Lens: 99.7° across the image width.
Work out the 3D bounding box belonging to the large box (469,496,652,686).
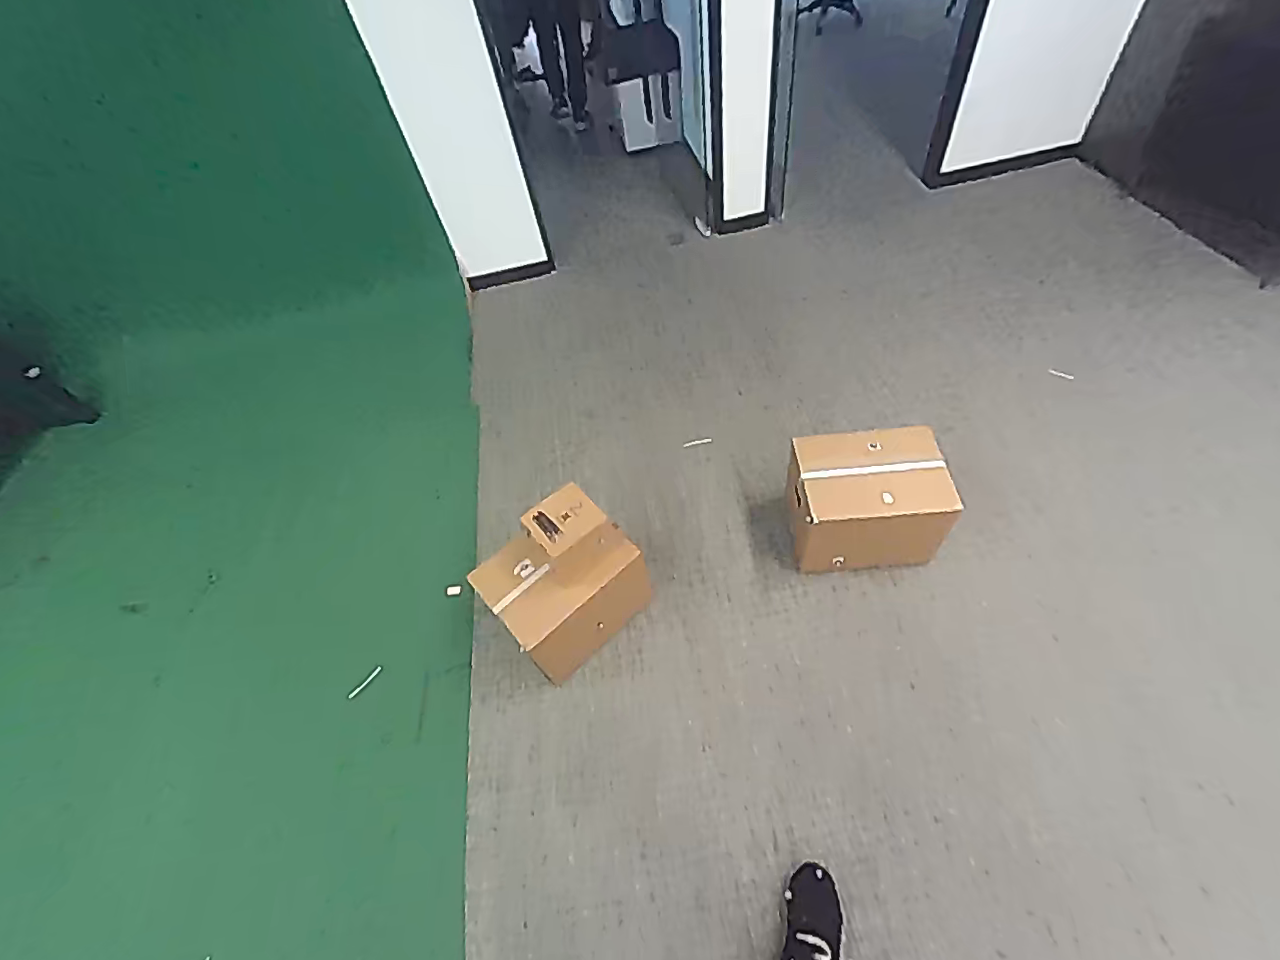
[{"bbox_3d":[-0.221,0.333,1.633,0.408,0.320,0.320,-40,56,-19],"label":"large box"}]
